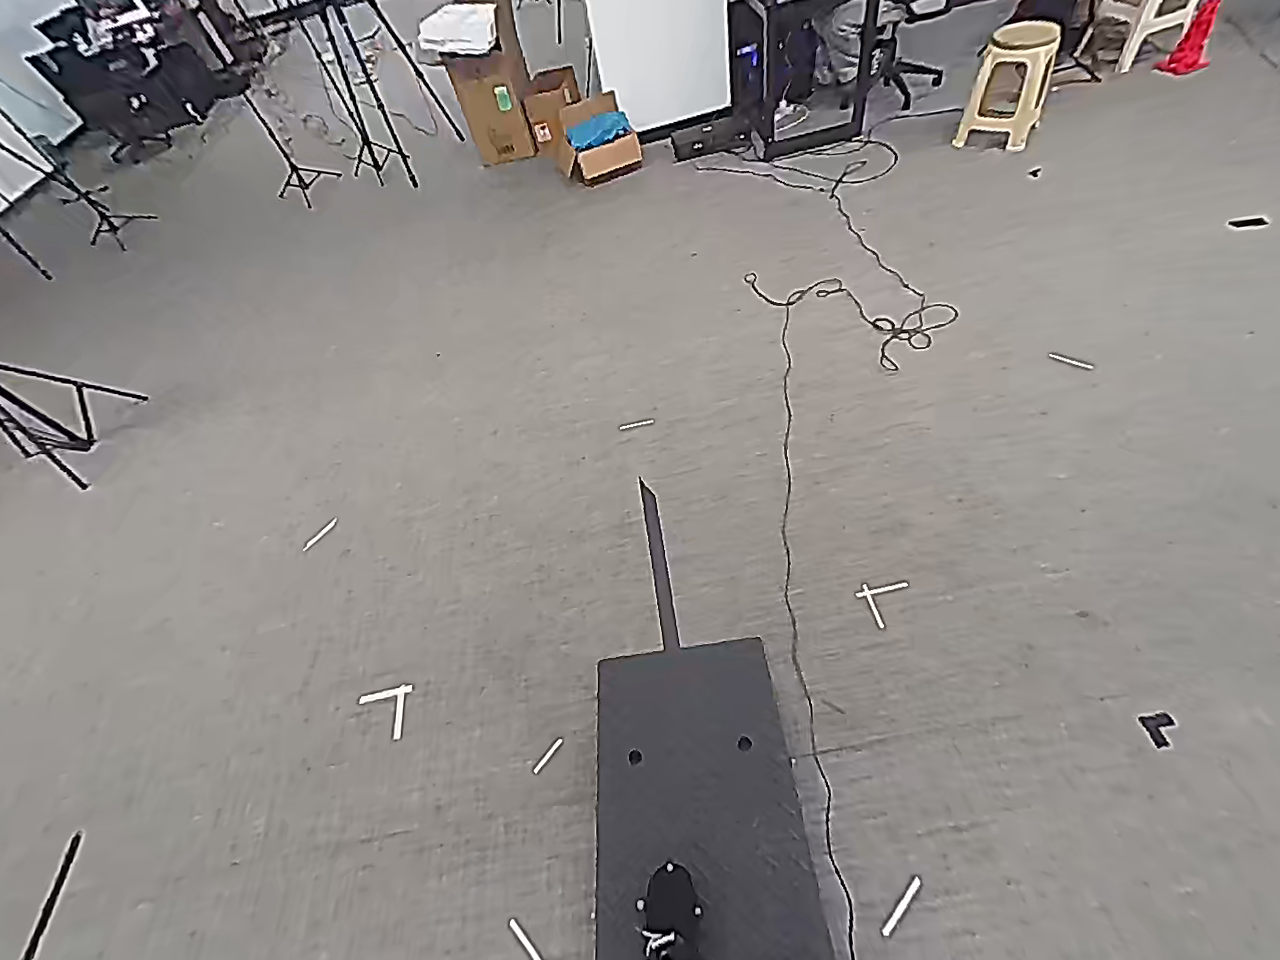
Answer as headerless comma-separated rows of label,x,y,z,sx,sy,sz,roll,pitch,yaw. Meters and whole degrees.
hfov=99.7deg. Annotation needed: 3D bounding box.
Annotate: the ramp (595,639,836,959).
ramp,0.136,0.844,1.238,0.509,0.206,0.991,-12,52,5
